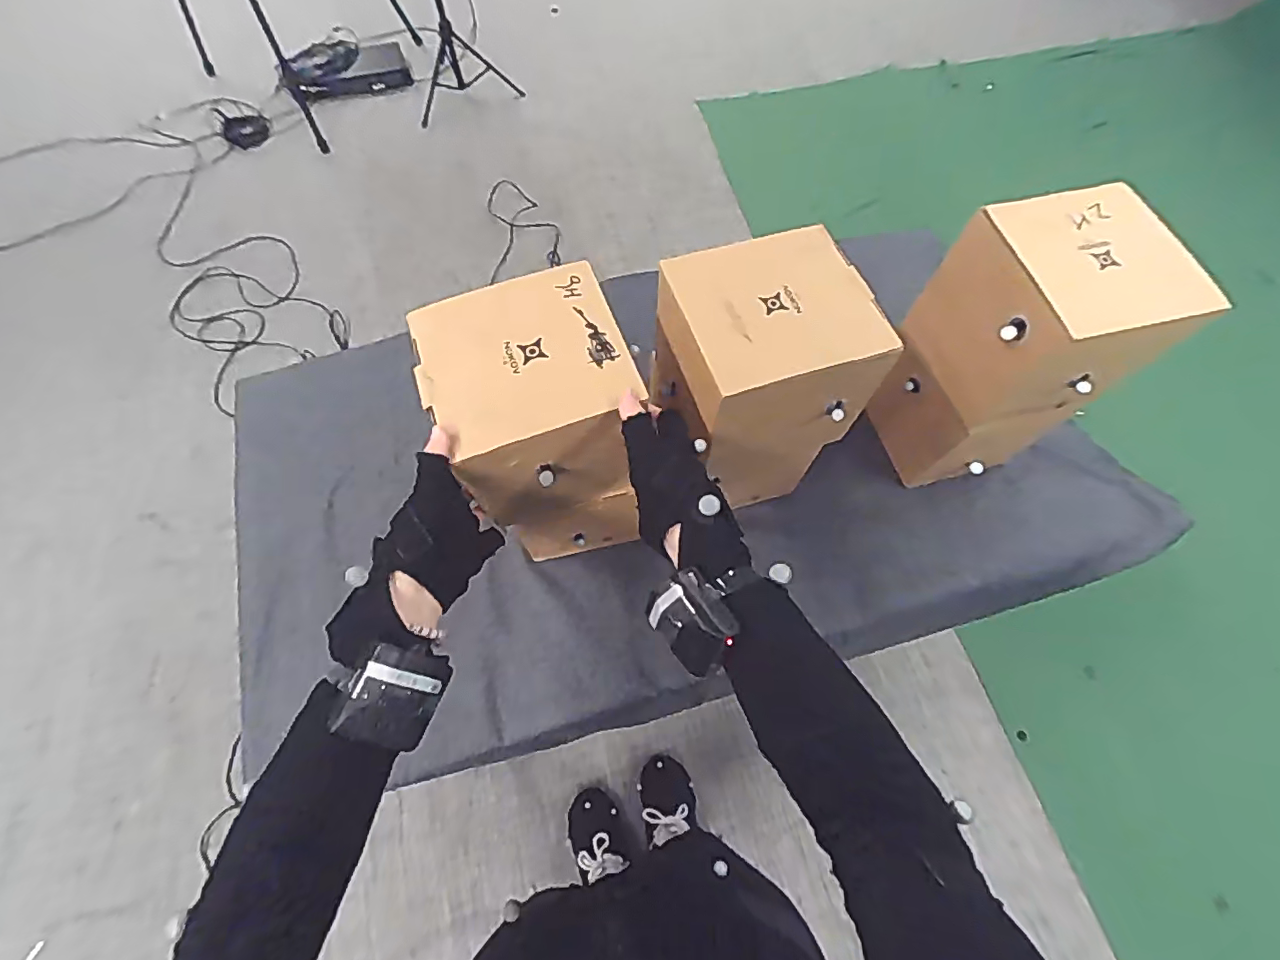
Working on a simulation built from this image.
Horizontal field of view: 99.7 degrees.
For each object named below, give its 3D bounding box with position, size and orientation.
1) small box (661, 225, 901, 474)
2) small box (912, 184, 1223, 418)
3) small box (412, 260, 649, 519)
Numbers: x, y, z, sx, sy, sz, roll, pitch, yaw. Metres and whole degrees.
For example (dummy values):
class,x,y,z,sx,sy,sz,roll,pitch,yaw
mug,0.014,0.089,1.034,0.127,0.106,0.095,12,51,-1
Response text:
class,x,y,z,sx,sy,sz,roll,pitch,yaw
small box,0.128,-0.129,0.573,0.179,0.176,0.168,-17,66,-7
small box,0.443,-0.184,0.599,0.168,0.176,0.179,-12,66,-6
small box,-0.097,-0.079,0.545,0.179,0.176,0.168,-20,69,-6
